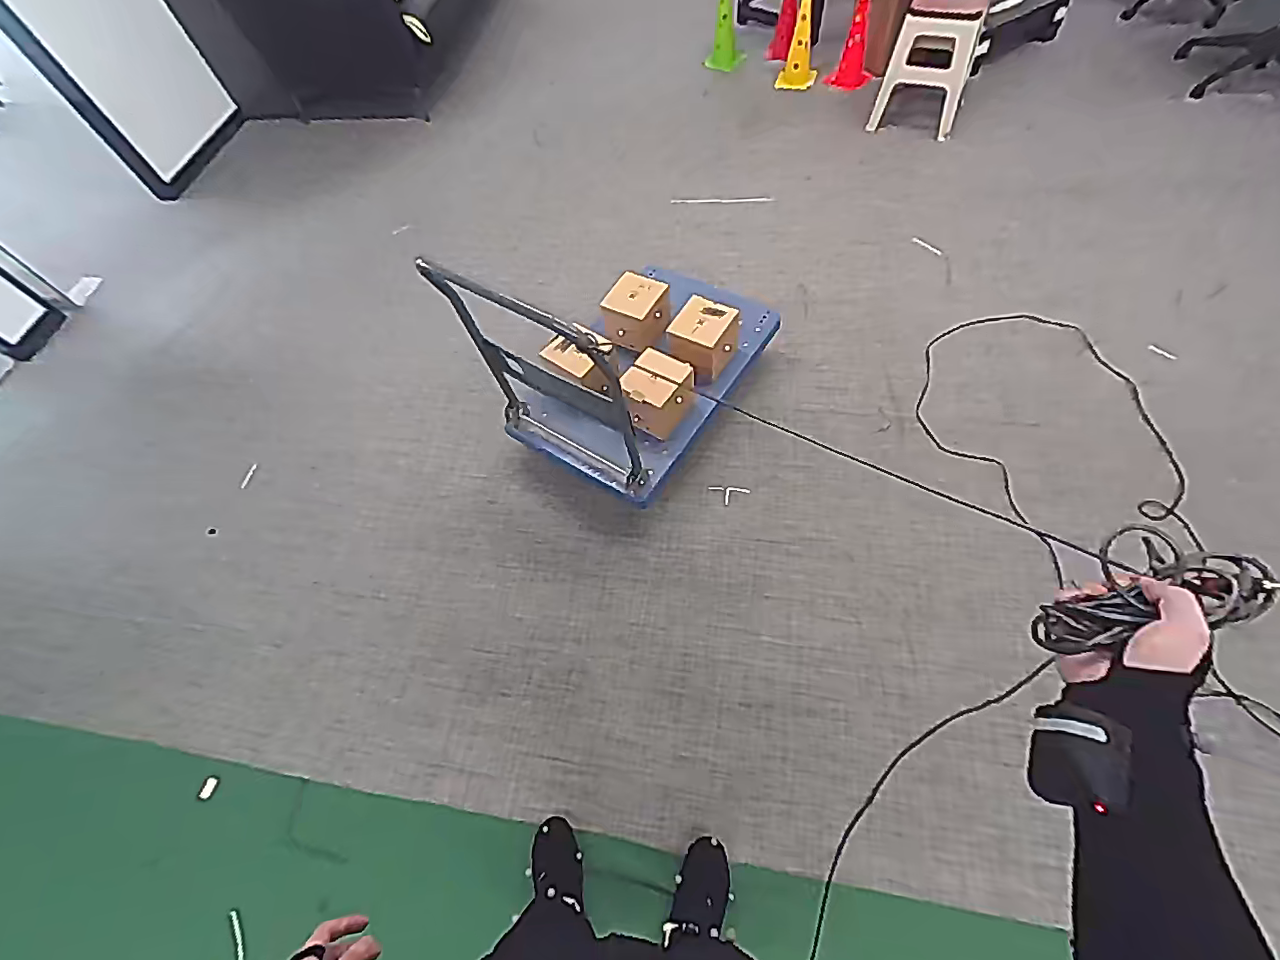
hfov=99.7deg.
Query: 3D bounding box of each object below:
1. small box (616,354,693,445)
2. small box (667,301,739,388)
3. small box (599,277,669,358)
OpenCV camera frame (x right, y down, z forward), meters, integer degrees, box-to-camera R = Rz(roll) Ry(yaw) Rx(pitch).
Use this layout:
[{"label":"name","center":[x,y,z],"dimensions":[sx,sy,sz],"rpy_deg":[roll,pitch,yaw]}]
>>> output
[{"label":"small box","center":[0.048,-0.242,1.645],"dimensions":[0.168,0.176,0.179],"rpy_deg":[30,69,22]},{"label":"small box","center":[0.201,-0.431,1.731],"dimensions":[0.168,0.176,0.179],"rpy_deg":[27,68,21]},{"label":"small box","center":[-0.012,-0.542,1.822],"dimensions":[0.168,0.176,0.179],"rpy_deg":[26,66,19]}]
